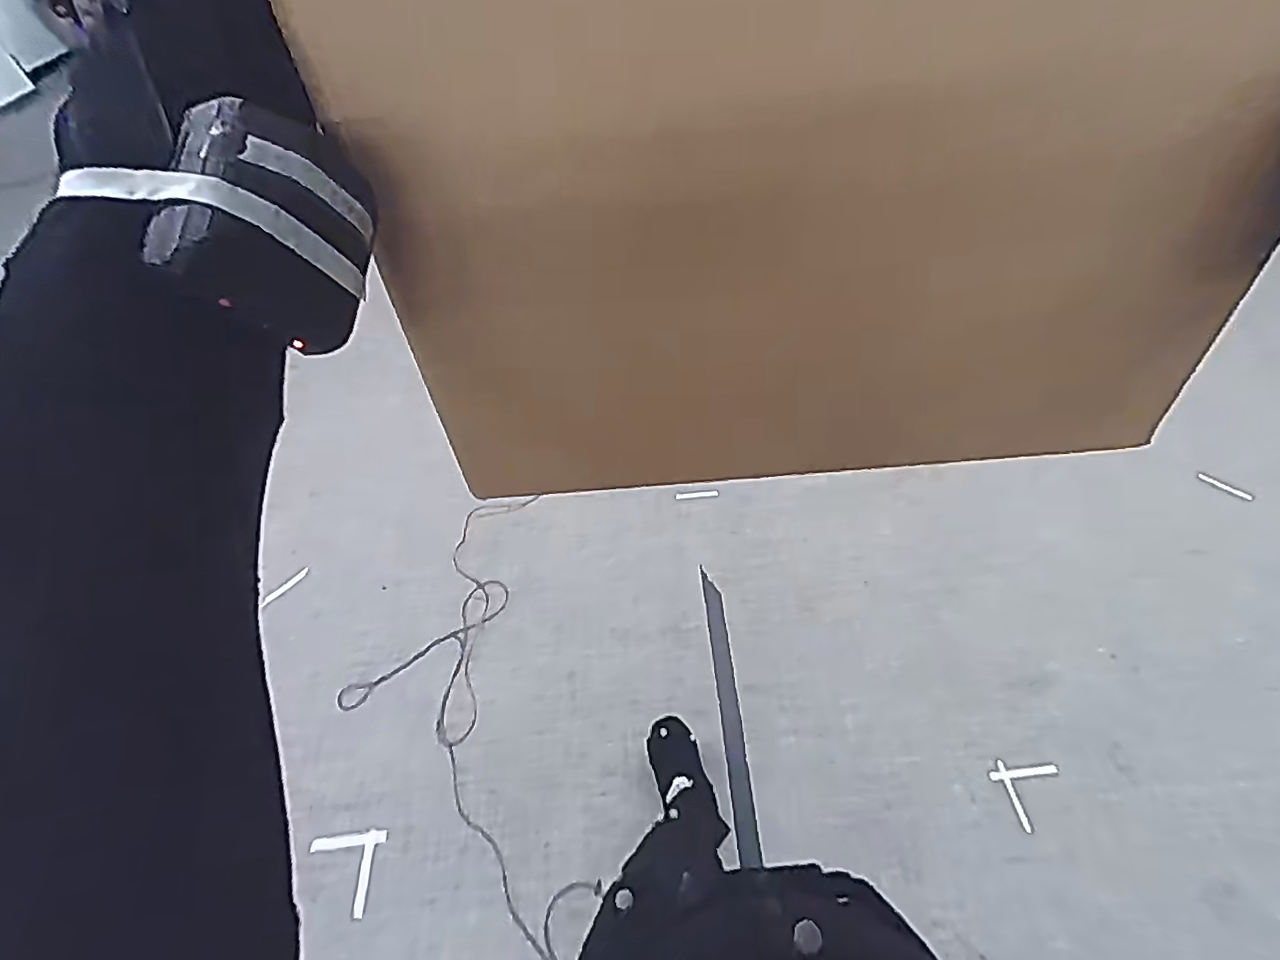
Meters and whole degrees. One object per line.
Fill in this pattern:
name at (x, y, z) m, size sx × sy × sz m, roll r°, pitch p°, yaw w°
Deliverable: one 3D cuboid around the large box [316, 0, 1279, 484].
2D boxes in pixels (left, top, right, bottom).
large box at (0.077, -0.221, 0.358) m, size 0.408 × 0.320 × 0.320 m, roll -5°, pitch 41°, yaw 1°
